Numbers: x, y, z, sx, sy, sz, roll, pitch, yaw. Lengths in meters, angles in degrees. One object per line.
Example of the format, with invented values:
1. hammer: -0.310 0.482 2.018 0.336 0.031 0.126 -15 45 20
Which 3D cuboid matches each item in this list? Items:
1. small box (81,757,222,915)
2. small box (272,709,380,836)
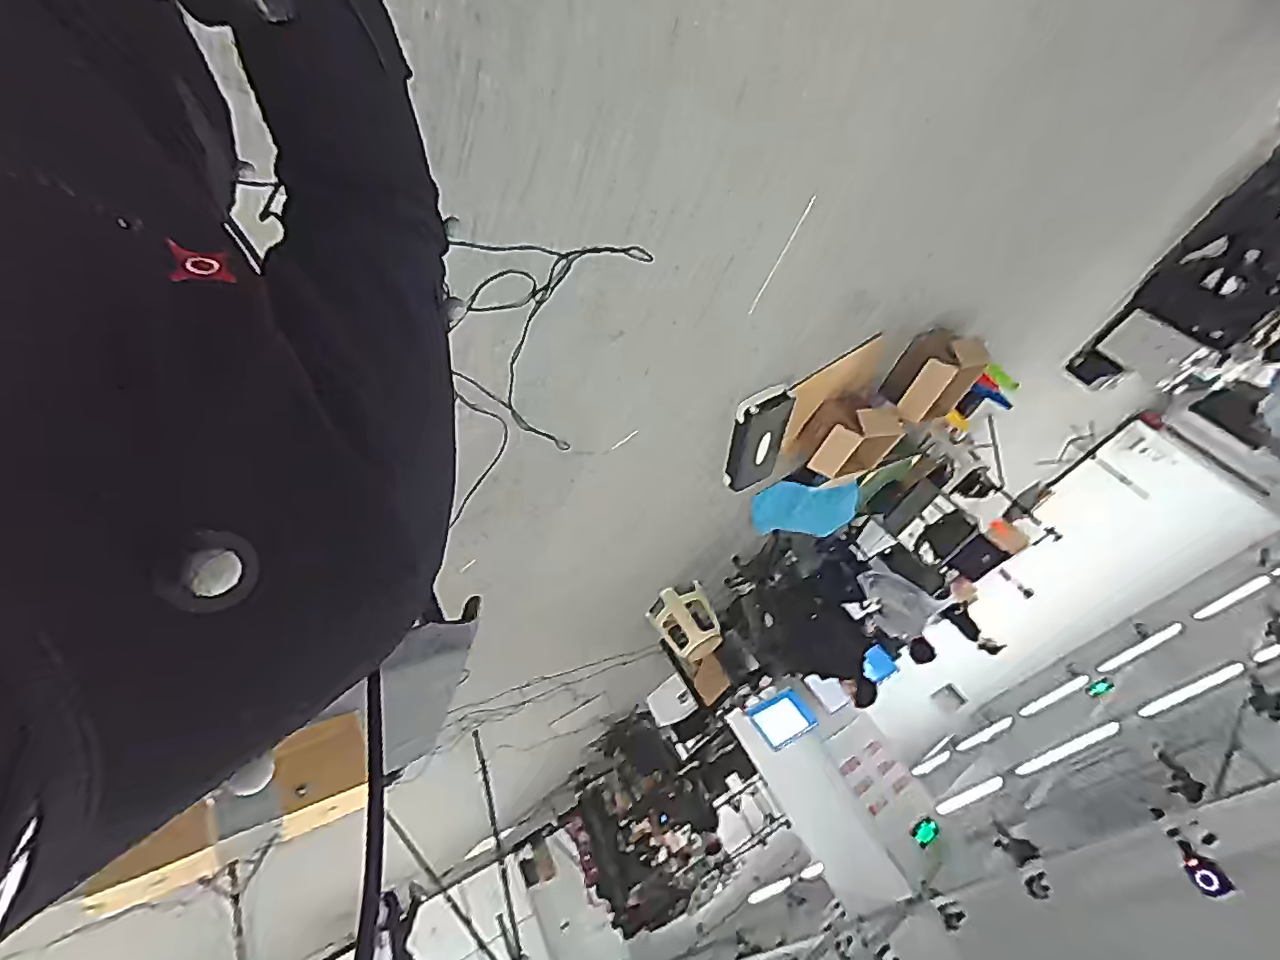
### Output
1. small box: -0.913 0.664 1.021 0.179 0.176 0.168 -9 142 -39
2. small box: -0.696 0.638 1.196 0.179 0.176 0.168 -8 140 -37
